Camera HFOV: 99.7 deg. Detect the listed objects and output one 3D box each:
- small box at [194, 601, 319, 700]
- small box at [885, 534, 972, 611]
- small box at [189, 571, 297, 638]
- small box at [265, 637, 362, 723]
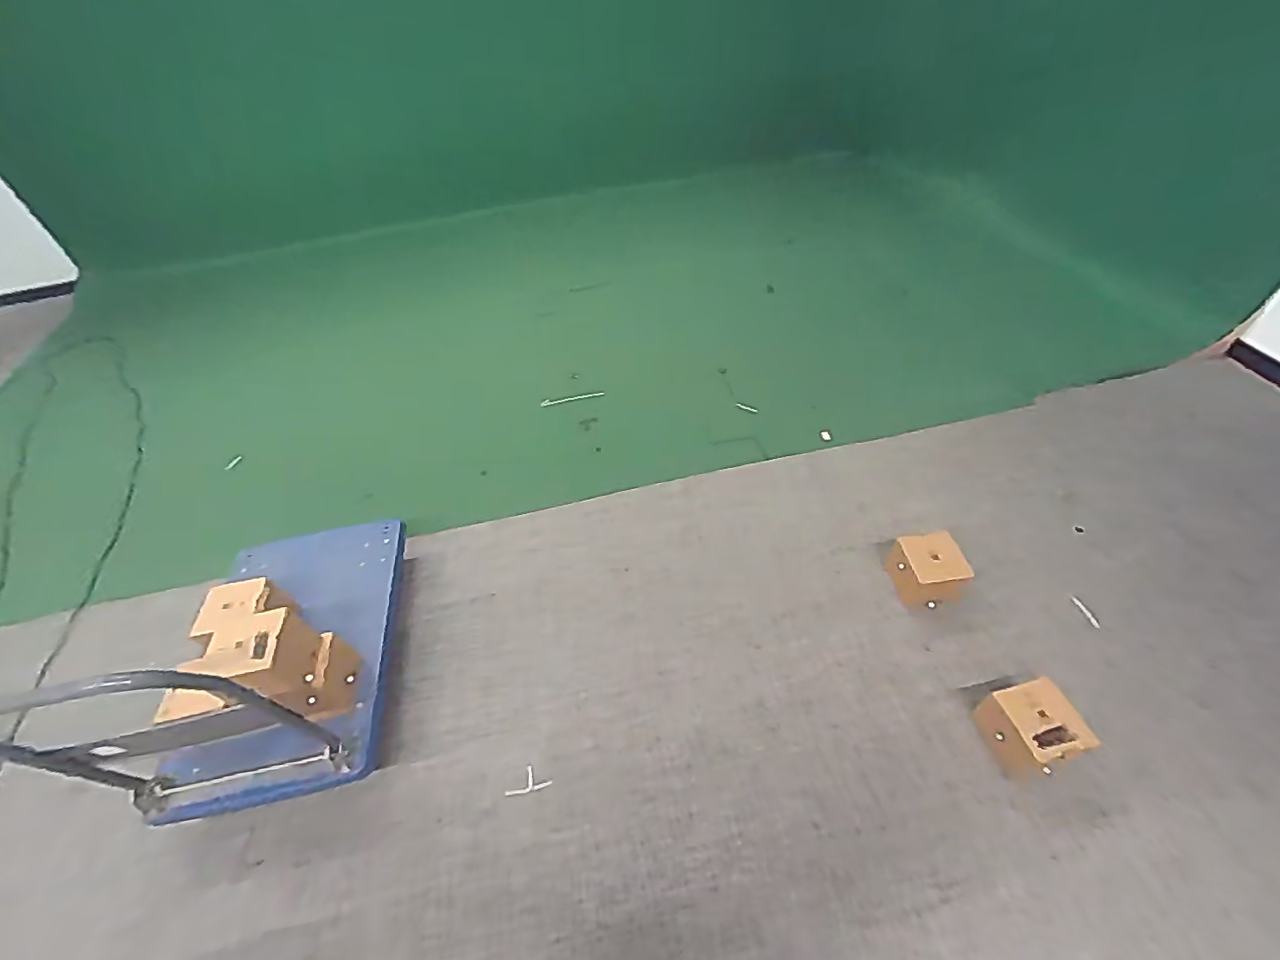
[{"bbox_3d":[-0.946,0.429,1.357,0.179,0.176,0.168,-11,47,-3],"label":"small box"},{"bbox_3d":[0.908,0.296,1.724,0.168,0.176,0.179,-7,48,1],"label":"small box"},{"bbox_3d":[-1.187,0.400,1.632,0.179,0.176,0.168,-8,48,-1],"label":"small box"},{"bbox_3d":[-0.909,0.539,1.486,0.168,0.176,0.179,13,52,15],"label":"small box"}]
